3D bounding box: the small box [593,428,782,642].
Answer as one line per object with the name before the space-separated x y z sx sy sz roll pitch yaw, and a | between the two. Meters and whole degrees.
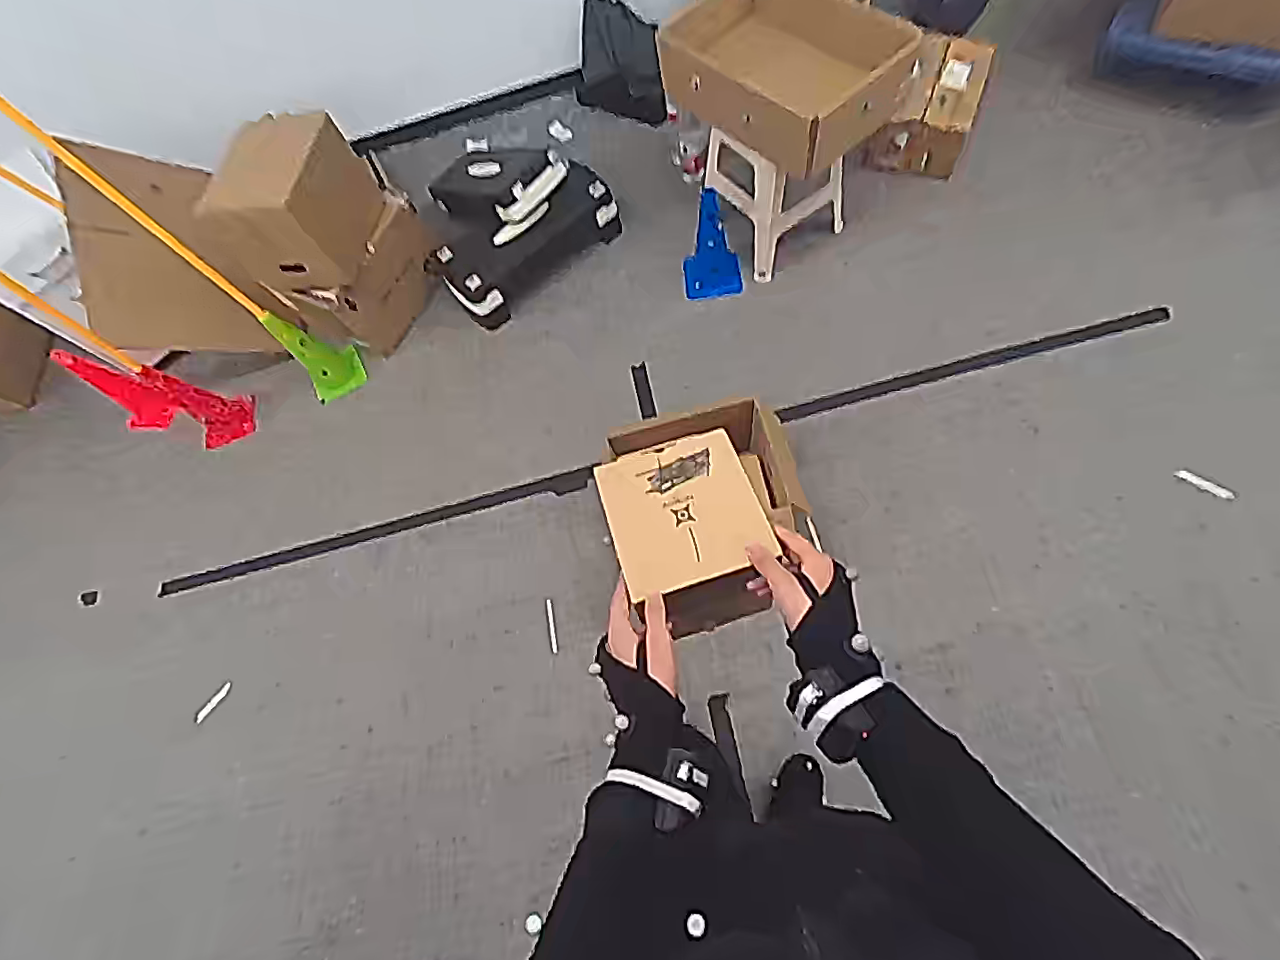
small box | 0.054 0.072 0.654 0.168 0.176 0.179 -18 58 -2
